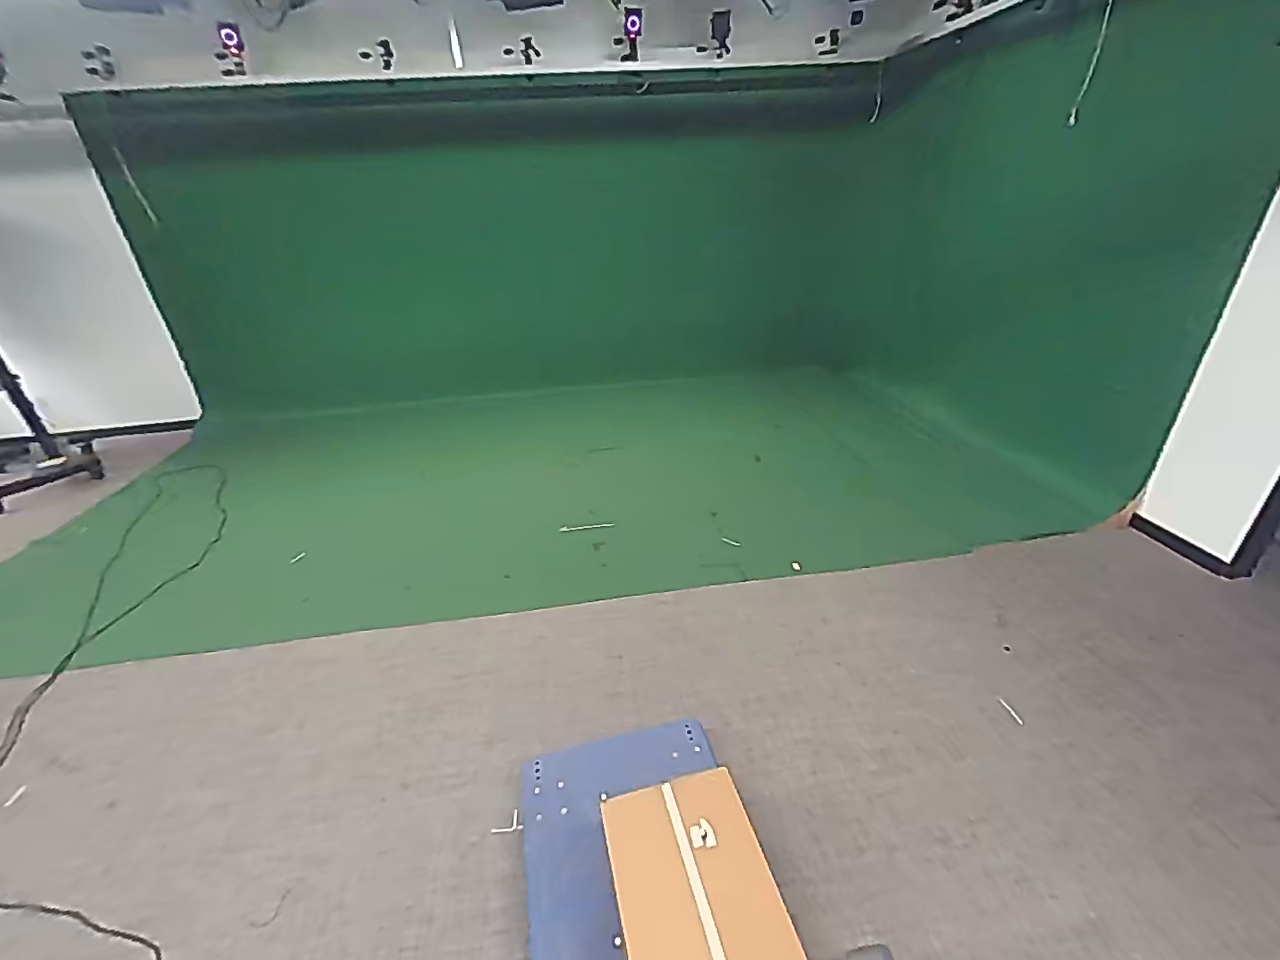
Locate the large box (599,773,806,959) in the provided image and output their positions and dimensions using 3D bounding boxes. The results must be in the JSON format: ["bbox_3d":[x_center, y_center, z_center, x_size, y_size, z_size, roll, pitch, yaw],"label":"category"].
[{"bbox_3d":[0.112,0.938,1.154,0.320,0.320,0.408,-8,28,-12],"label":"large box"}]
